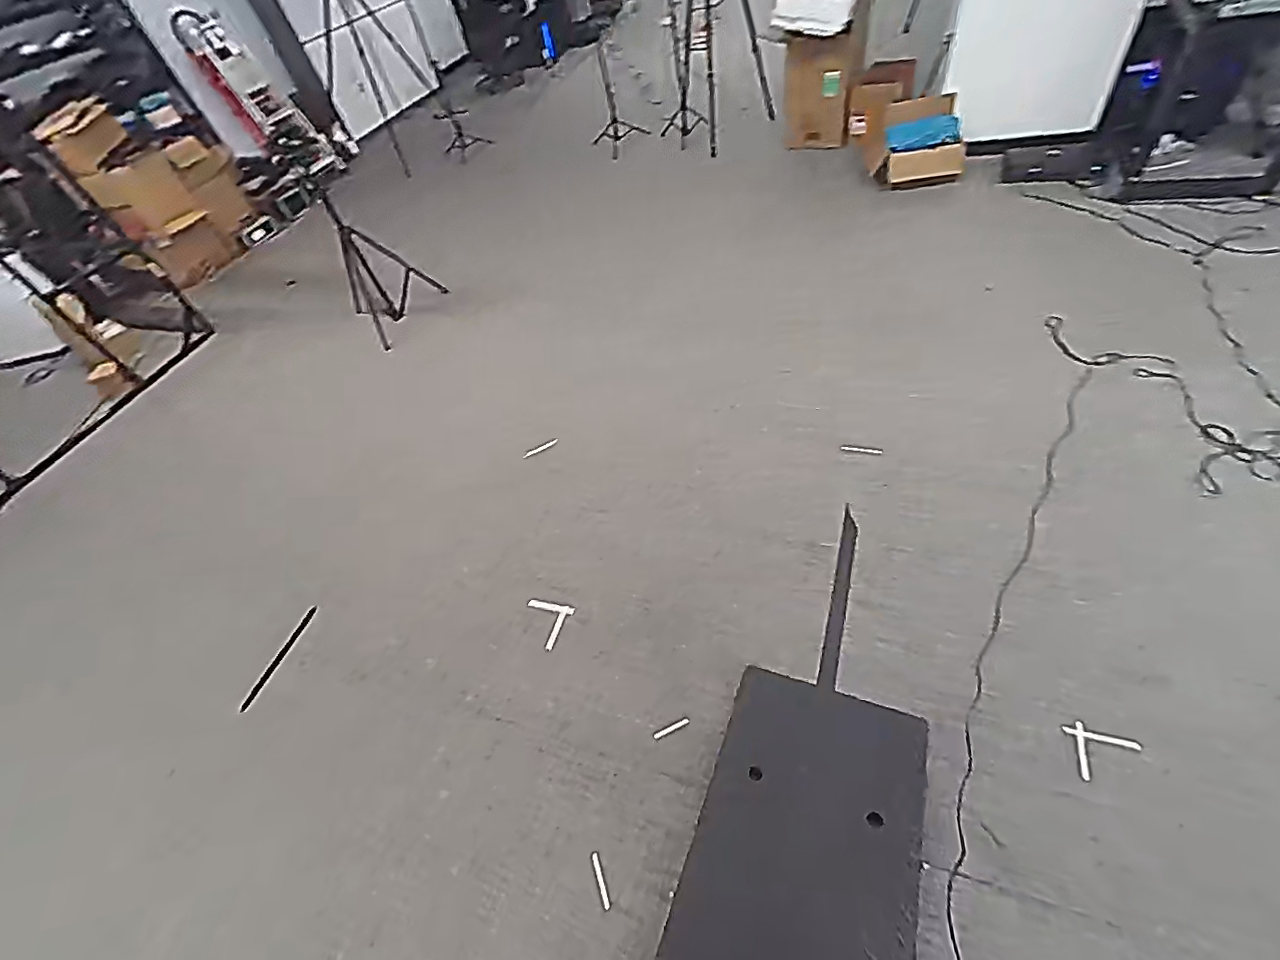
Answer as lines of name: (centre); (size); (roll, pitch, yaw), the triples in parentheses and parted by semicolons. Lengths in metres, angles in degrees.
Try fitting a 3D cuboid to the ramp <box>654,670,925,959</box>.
ramp: (0.334, 0.914, 1.186); (0.509, 0.206, 0.991); (9, 53, 22)
